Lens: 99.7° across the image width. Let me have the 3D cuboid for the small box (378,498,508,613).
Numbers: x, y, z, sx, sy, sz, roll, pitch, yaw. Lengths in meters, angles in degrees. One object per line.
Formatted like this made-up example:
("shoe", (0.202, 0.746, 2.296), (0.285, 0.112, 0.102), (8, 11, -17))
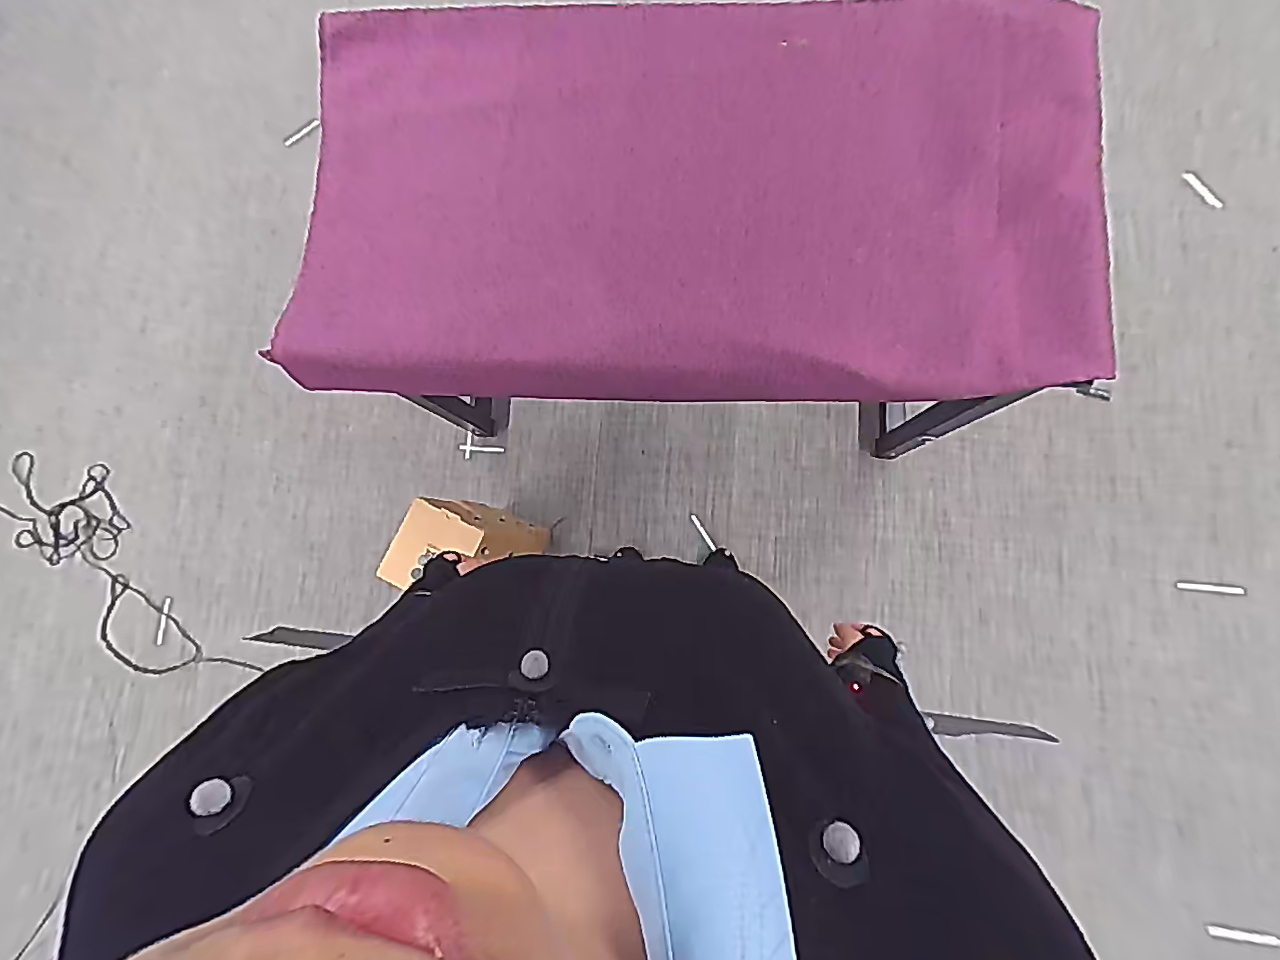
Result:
("small box", (-0.402, 0.156, 1.138), (0.168, 0.176, 0.179), (25, 85, 7))

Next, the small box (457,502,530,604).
("small box", (-0.383, 0.171, 1.299), (0.168, 0.176, 0.179), (32, 87, 8))
